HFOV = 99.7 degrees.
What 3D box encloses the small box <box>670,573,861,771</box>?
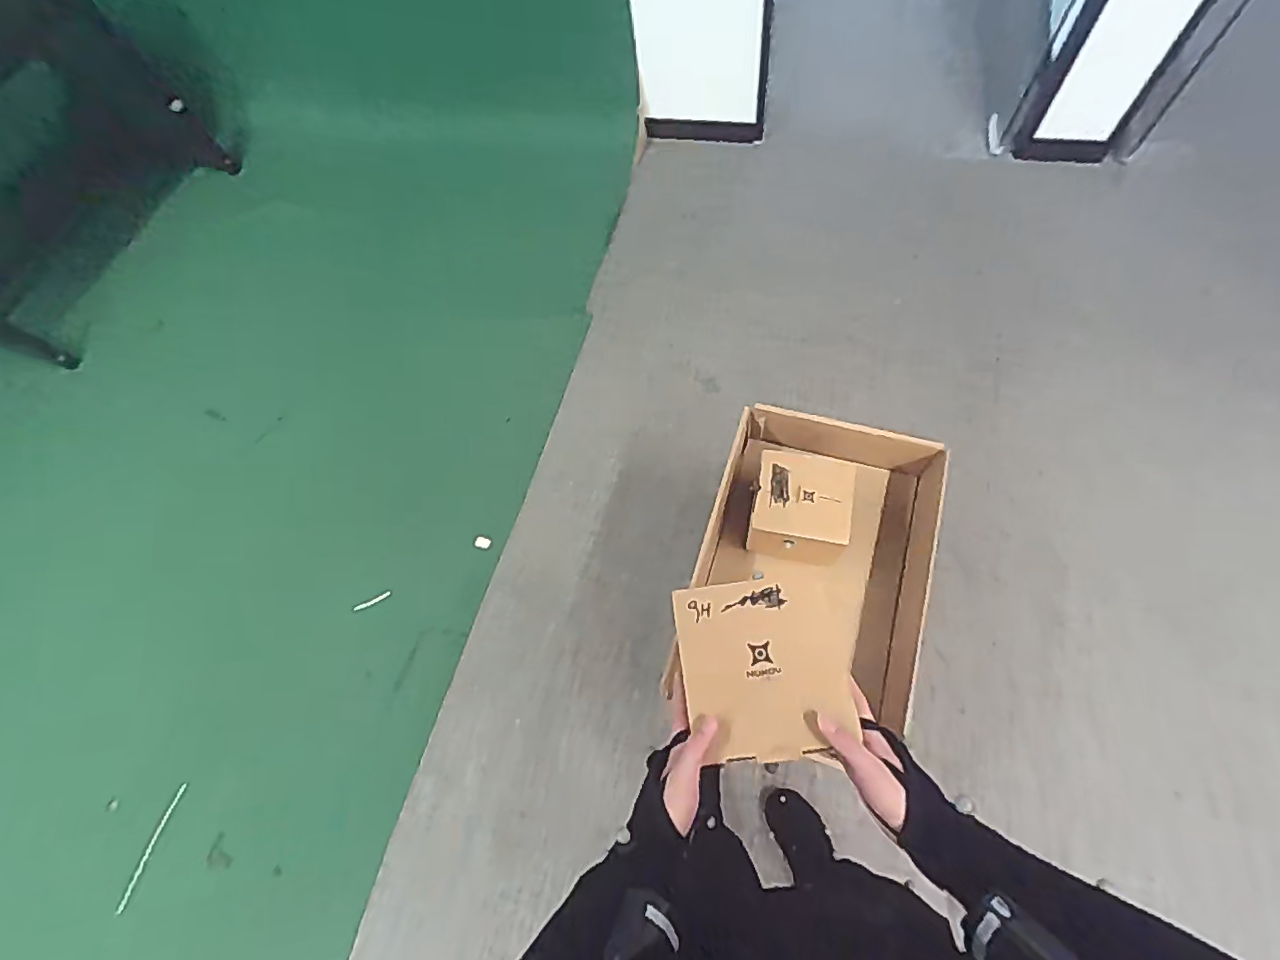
[{"bbox_3d":[0.131,0.220,0.620,0.168,0.176,0.179,-9,65,3],"label":"small box"}]
